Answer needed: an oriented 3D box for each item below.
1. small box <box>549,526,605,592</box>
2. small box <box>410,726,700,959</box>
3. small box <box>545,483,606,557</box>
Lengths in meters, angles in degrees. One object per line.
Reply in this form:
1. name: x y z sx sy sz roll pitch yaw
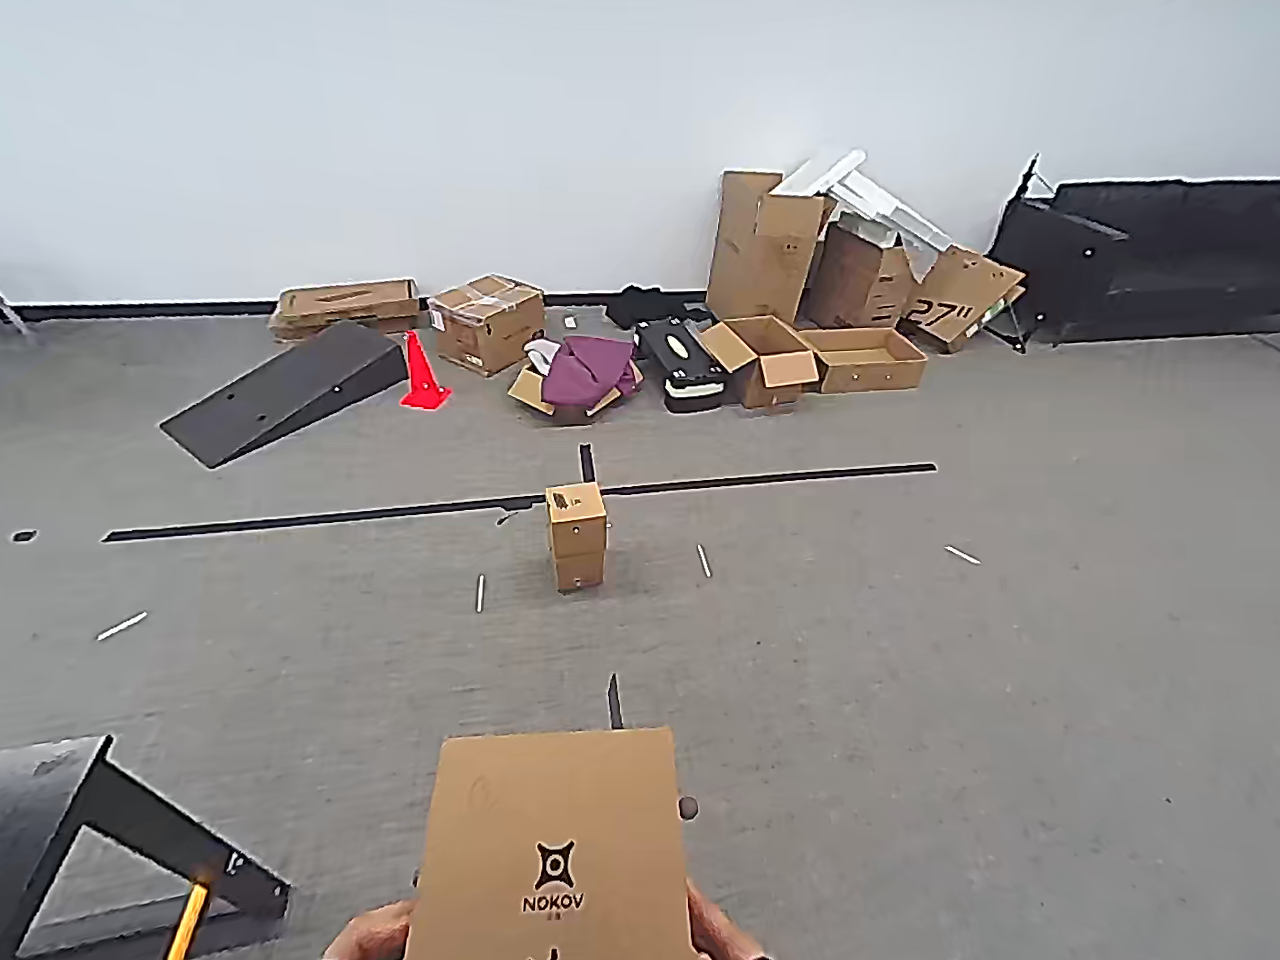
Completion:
1. small box: -0.222 0.261 1.885 0.168 0.176 0.179 -10 44 -14
2. small box: -0.052 0.297 0.388 0.168 0.176 0.179 -2 48 -3
3. small box: -0.210 0.135 1.780 0.179 0.176 0.168 -8 42 -13
